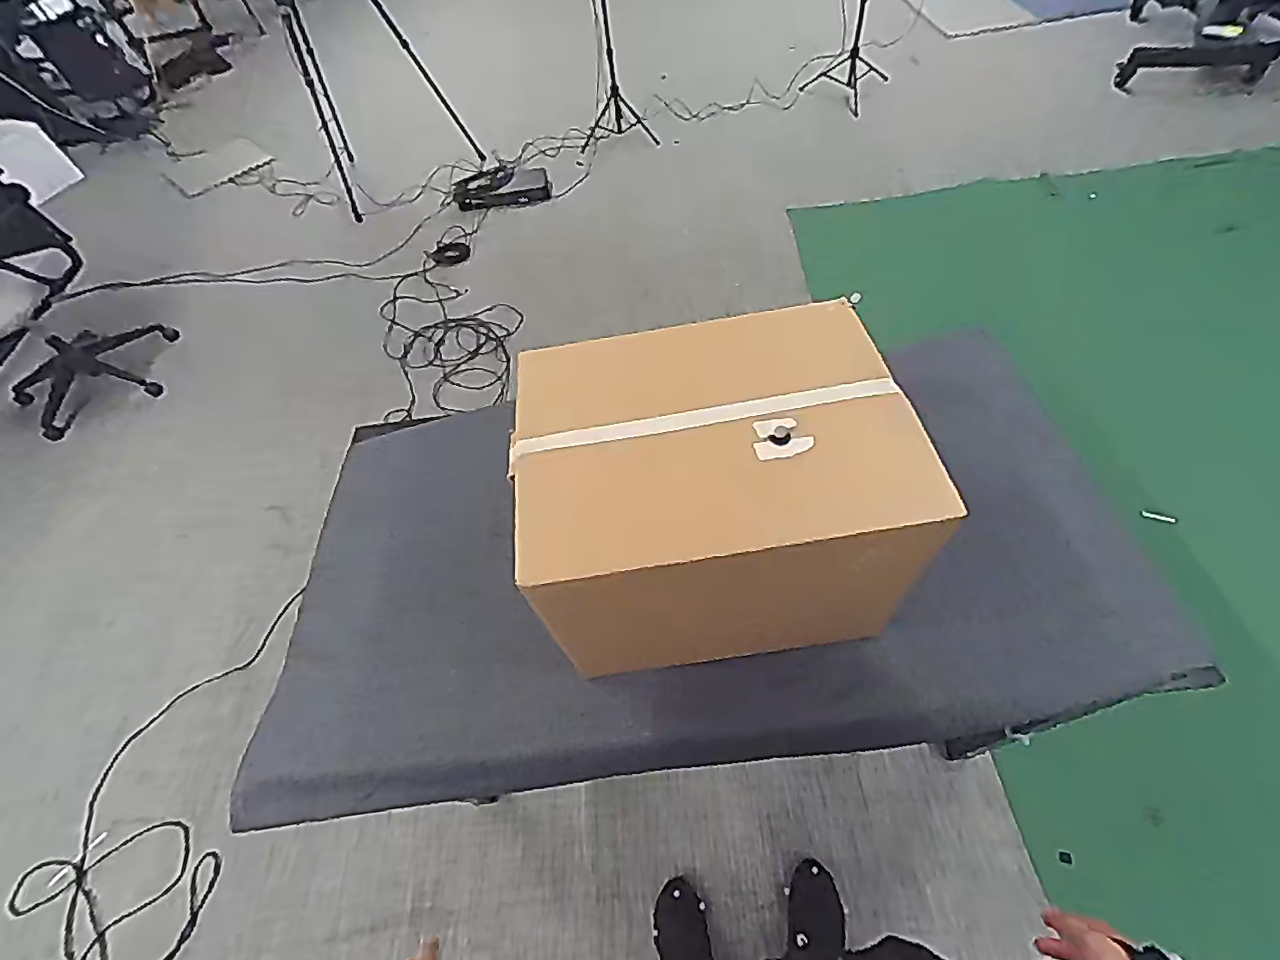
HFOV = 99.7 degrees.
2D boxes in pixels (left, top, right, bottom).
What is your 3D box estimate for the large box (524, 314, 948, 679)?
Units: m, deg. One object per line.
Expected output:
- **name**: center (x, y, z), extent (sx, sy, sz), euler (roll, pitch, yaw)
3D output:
- **large box**: center (0.085, 0.034, 0.702), extent (0.408, 0.320, 0.320), euler (-9, 55, 1)
